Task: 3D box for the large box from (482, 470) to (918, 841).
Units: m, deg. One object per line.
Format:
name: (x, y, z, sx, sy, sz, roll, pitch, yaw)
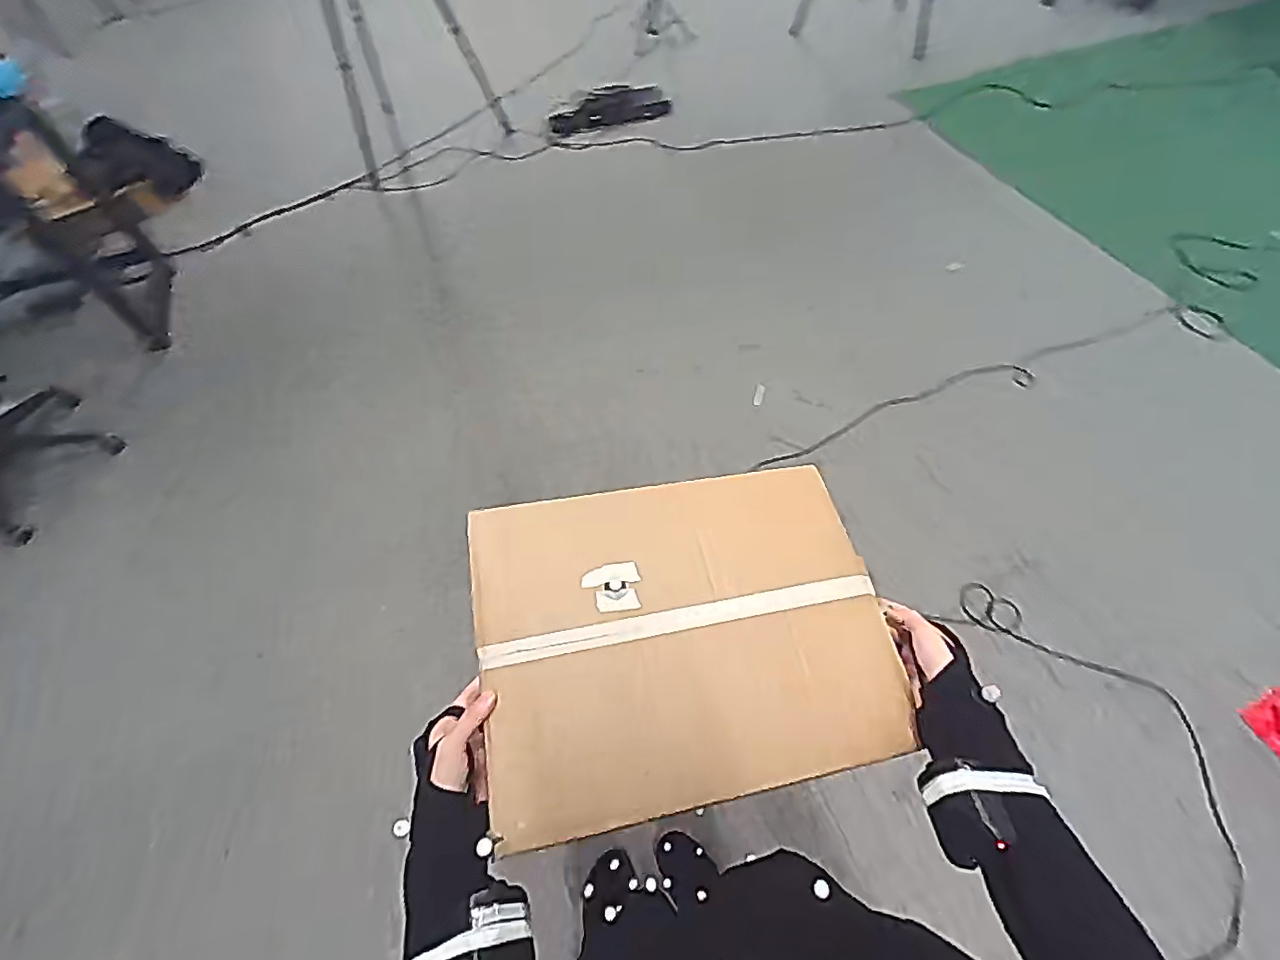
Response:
large box: (0.038, 0.215, 0.685, 0.408, 0.320, 0.320, -7, 62, -9)
